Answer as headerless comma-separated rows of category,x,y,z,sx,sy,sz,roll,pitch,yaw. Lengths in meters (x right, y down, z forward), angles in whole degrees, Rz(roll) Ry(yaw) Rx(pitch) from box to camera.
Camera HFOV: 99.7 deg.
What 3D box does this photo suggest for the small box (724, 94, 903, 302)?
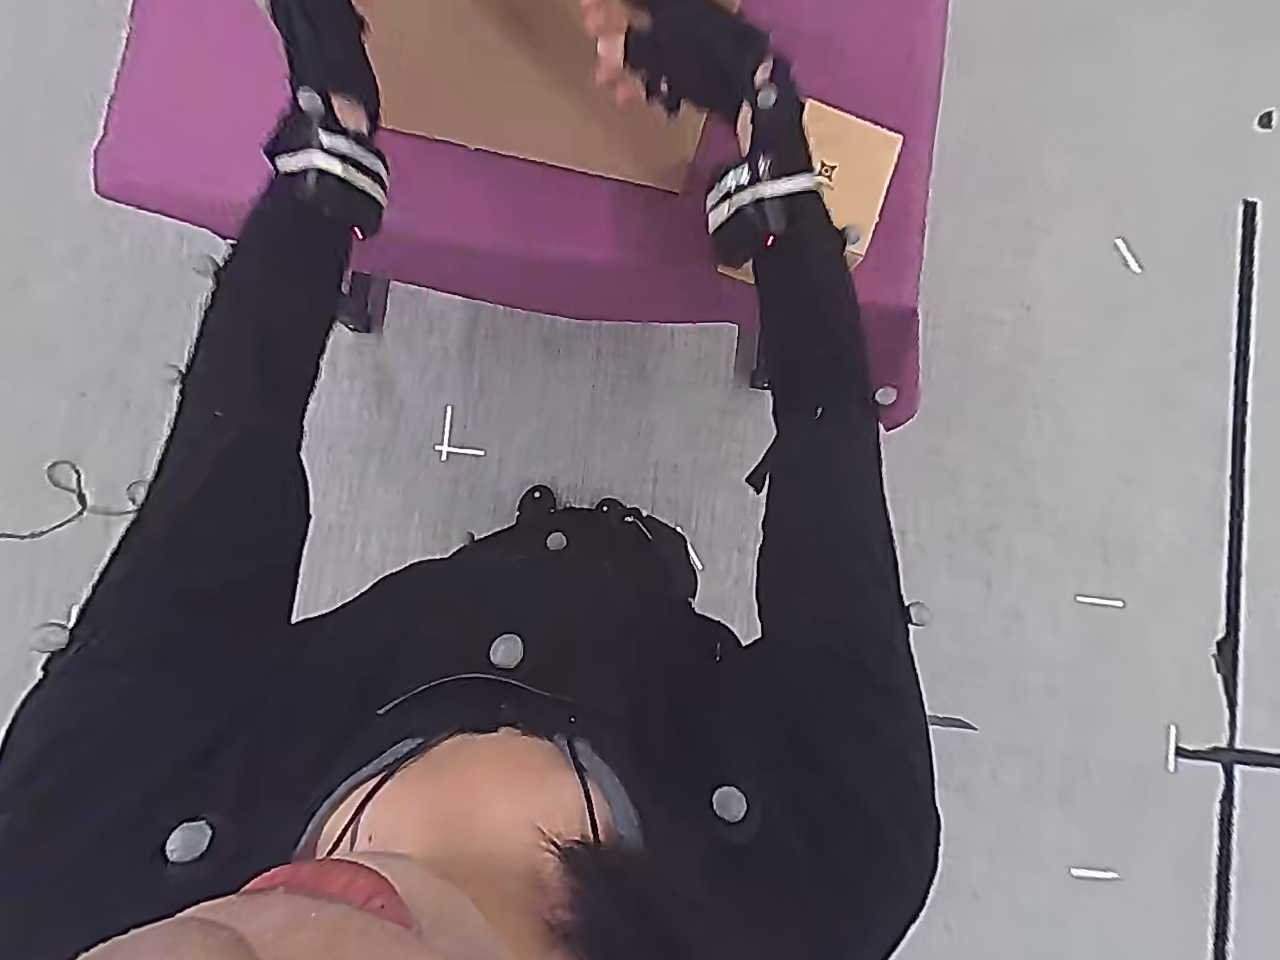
small box,0.230,-0.381,0.766,0.168,0.176,0.179,19,84,-4
